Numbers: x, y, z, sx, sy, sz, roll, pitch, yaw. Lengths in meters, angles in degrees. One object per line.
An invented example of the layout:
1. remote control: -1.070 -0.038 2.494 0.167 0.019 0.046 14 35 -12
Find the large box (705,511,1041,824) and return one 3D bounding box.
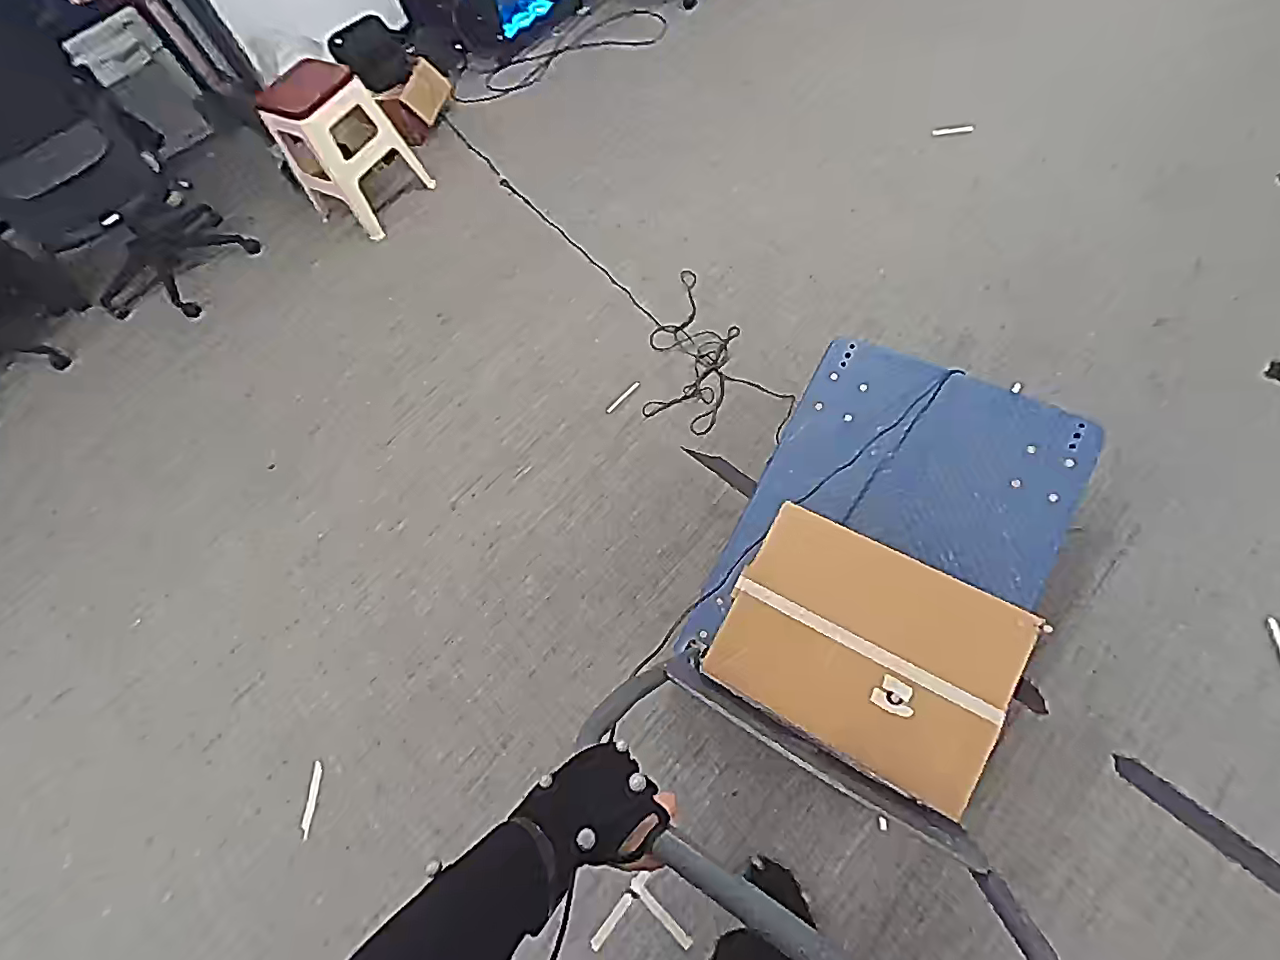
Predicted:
1. large box: 0.371 0.299 0.960 0.408 0.320 0.320 26 84 18
